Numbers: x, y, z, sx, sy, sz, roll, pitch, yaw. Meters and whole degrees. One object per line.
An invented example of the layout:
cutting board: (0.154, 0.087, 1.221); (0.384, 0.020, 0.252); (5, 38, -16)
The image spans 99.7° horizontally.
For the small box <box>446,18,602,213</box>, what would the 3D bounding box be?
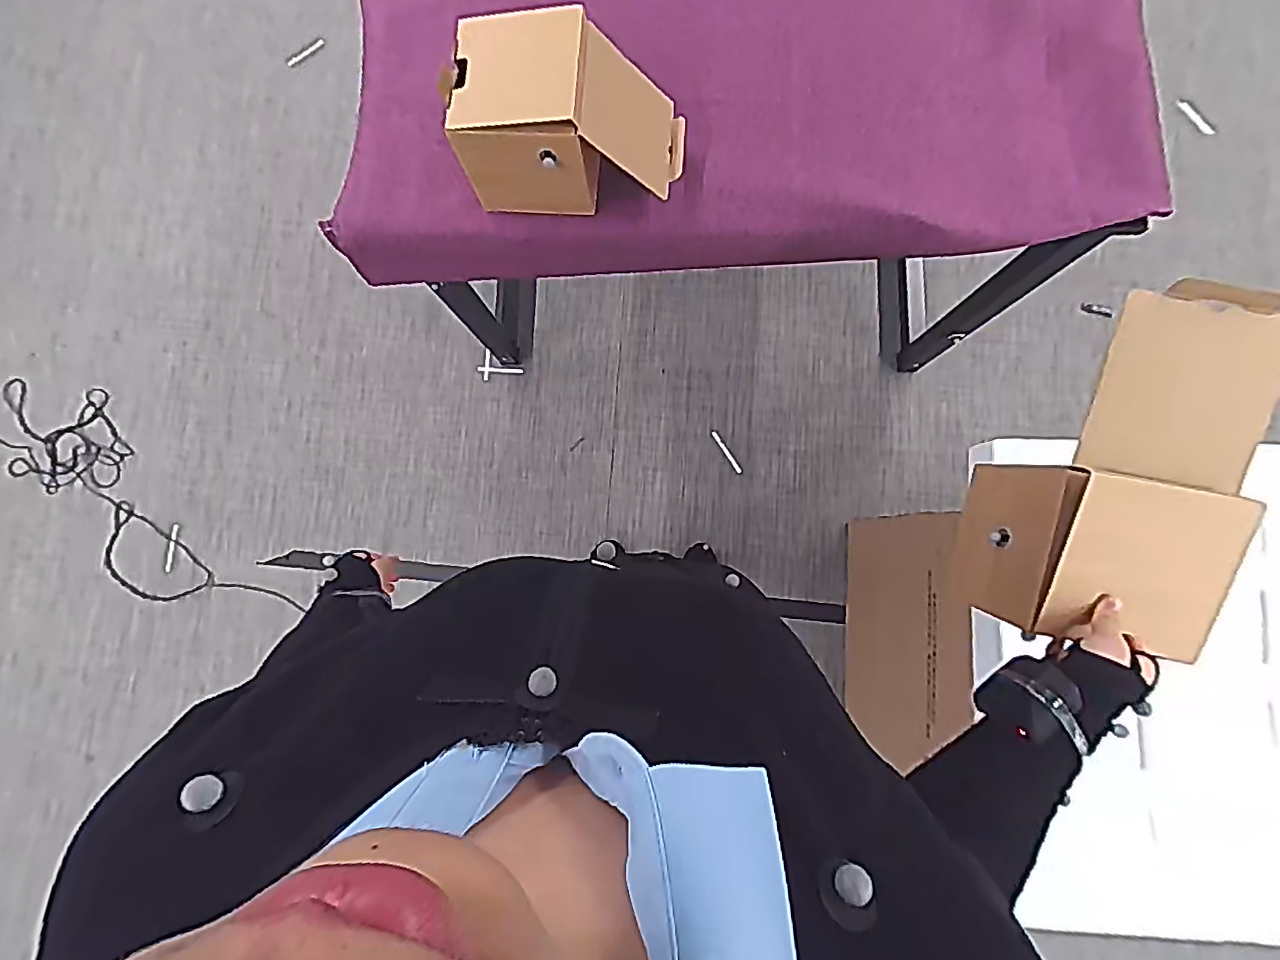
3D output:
small box: (-0.154, -0.510, 0.778); (0.179, 0.176, 0.168); (4, 82, 4)
